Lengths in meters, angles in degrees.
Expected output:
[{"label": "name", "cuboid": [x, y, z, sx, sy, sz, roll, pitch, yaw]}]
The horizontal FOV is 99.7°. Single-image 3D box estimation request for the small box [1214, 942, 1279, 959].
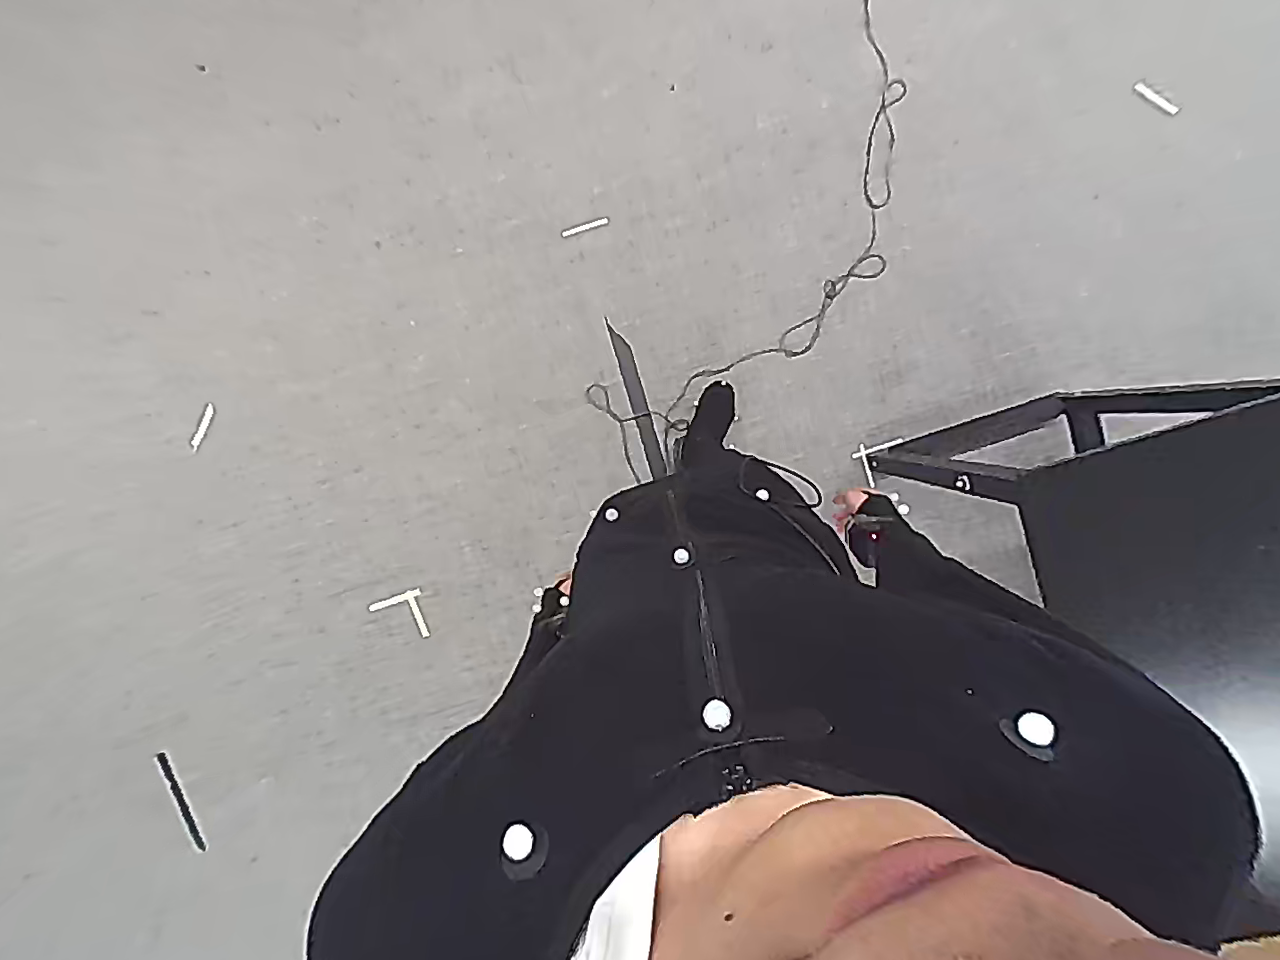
[{"label": "small box", "cuboid": [1.109, 0.896, 0.878, 0.179, 0.176, 0.168, -10, 94, 2]}]
